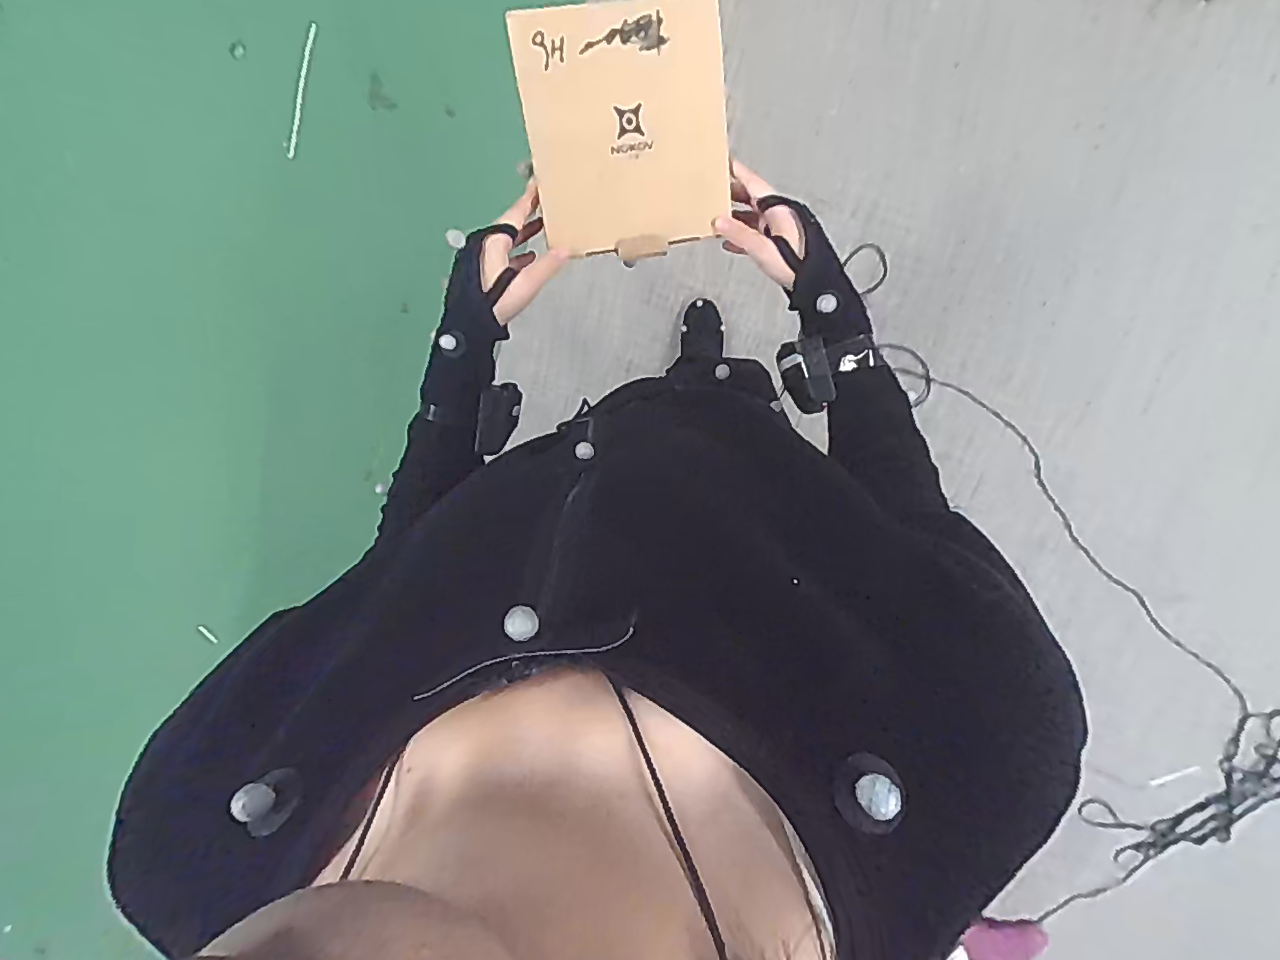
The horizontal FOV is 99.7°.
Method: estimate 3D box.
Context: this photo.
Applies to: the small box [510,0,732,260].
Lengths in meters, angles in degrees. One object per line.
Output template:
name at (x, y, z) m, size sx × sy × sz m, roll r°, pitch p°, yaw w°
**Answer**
small box at (-0.019, -0.315, 0.511) m, size 0.168 × 0.176 × 0.179 m, roll -10°, pitch 115°, yaw -5°
